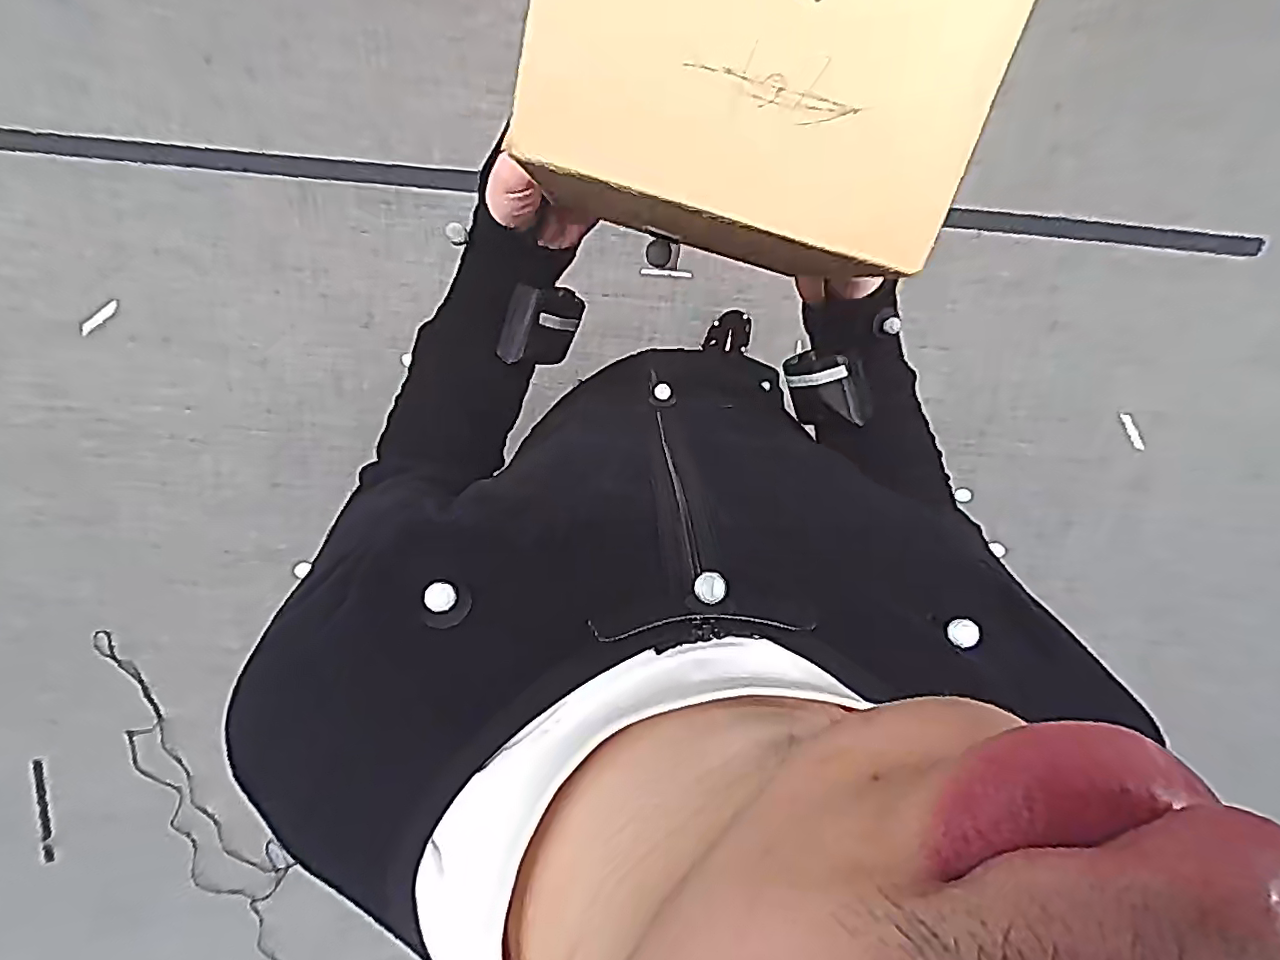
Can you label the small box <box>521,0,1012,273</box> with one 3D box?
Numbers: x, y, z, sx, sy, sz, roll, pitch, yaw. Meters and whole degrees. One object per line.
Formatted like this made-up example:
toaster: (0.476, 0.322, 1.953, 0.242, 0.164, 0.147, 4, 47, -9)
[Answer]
small box: (0.049, -0.211, 0.262, 0.168, 0.176, 0.179, 12, 109, -7)
